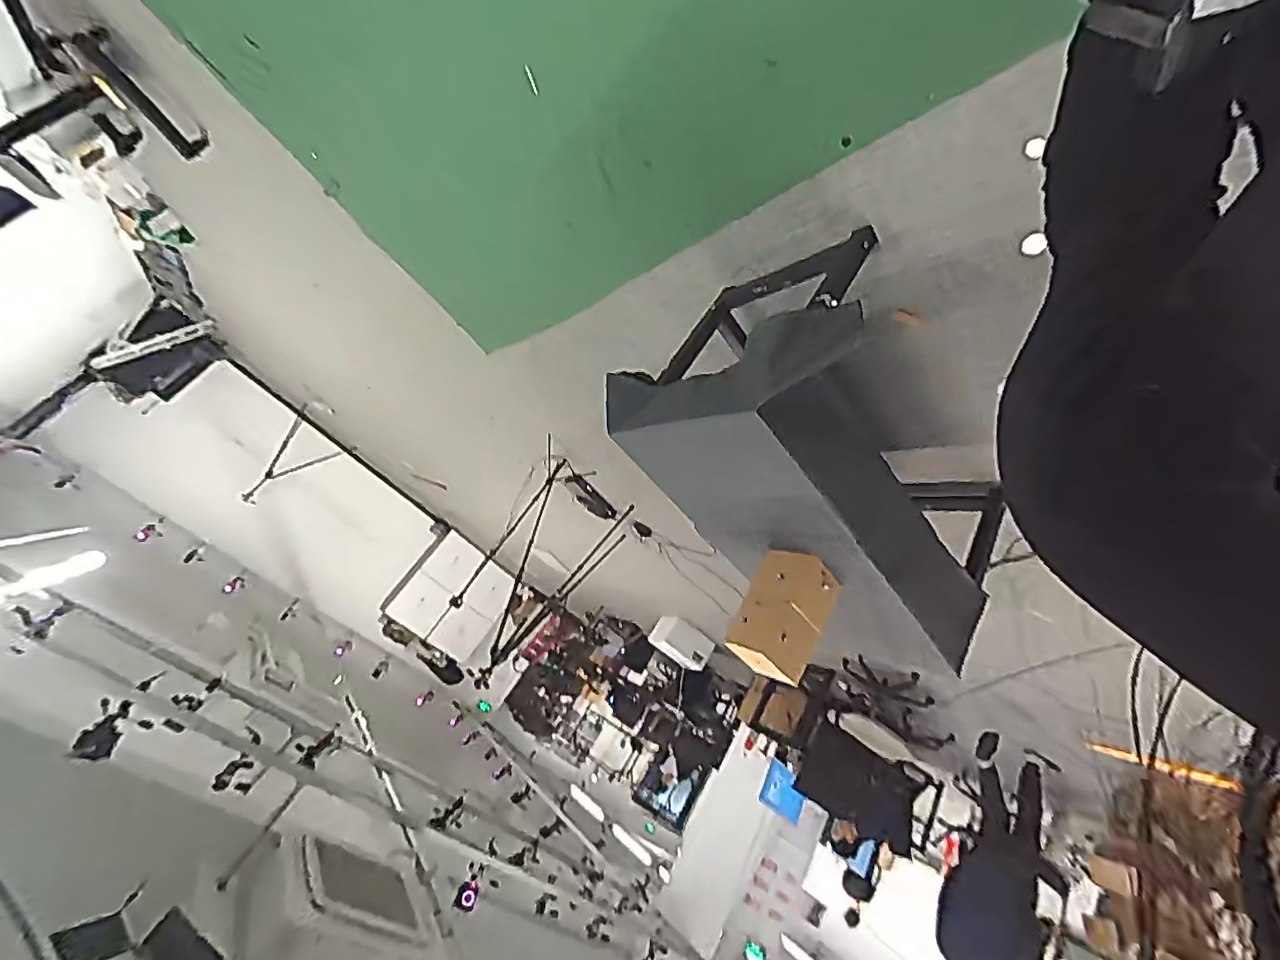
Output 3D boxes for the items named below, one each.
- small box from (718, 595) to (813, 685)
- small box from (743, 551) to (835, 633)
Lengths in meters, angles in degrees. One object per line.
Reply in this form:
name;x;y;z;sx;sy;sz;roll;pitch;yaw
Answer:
small box;0.365;0.455;1.564;0.179;0.176;0.168;46;156;-24
small box;0.450;0.329;1.624;0.168;0.176;0.179;47;154;-26
